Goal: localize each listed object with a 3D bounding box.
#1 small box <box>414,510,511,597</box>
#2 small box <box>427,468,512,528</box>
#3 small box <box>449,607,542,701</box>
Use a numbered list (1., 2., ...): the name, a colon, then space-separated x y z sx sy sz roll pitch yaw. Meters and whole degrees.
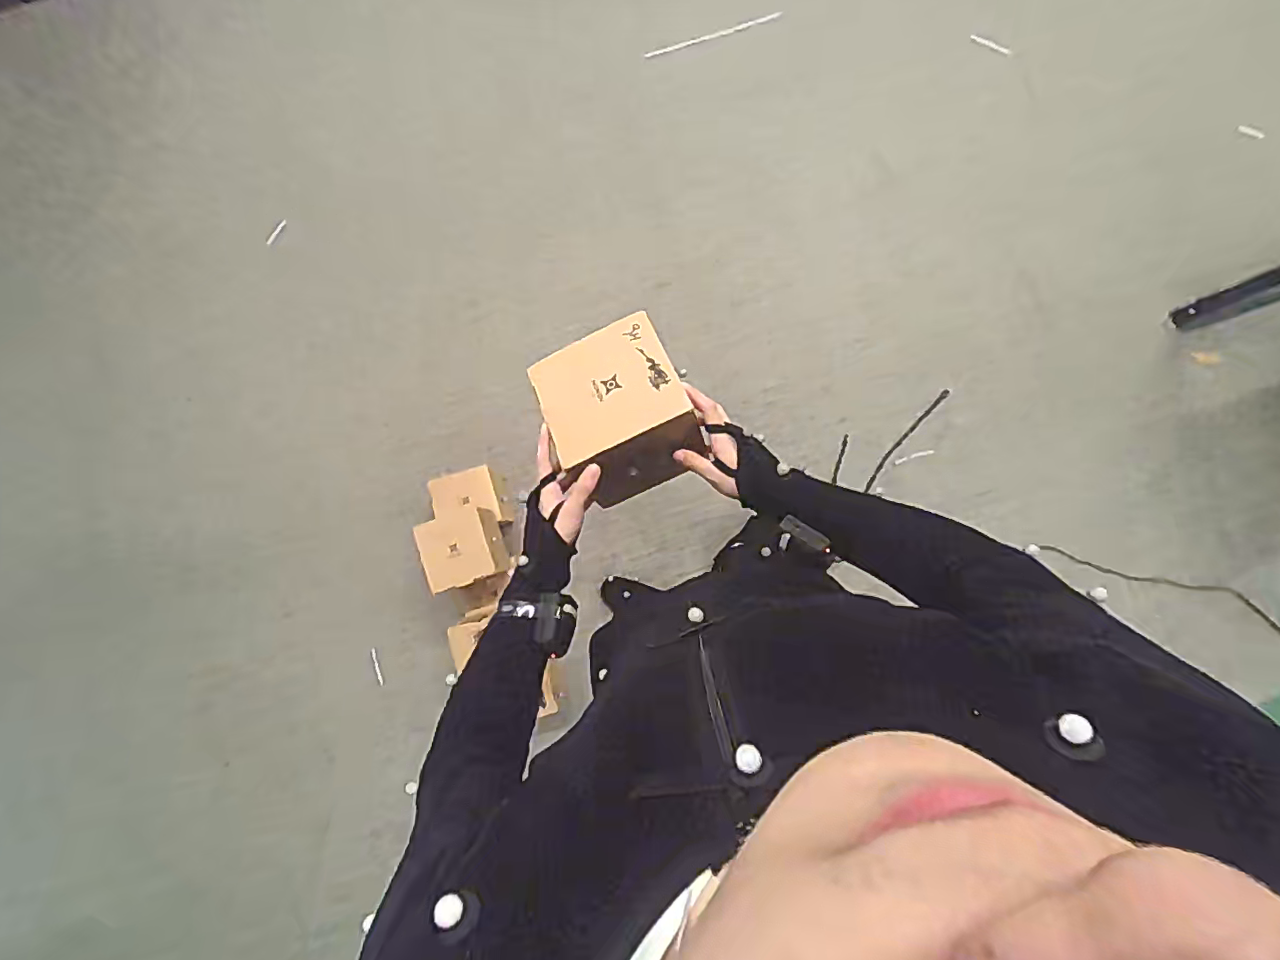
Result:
1. small box: -0.448 0.186 1.392 0.168 0.176 0.179 -20 83 -2
2. small box: -0.483 0.072 1.567 0.179 0.176 0.168 -18 85 -1
3. small box: -0.357 0.428 1.367 0.168 0.176 0.179 -16 86 -1
